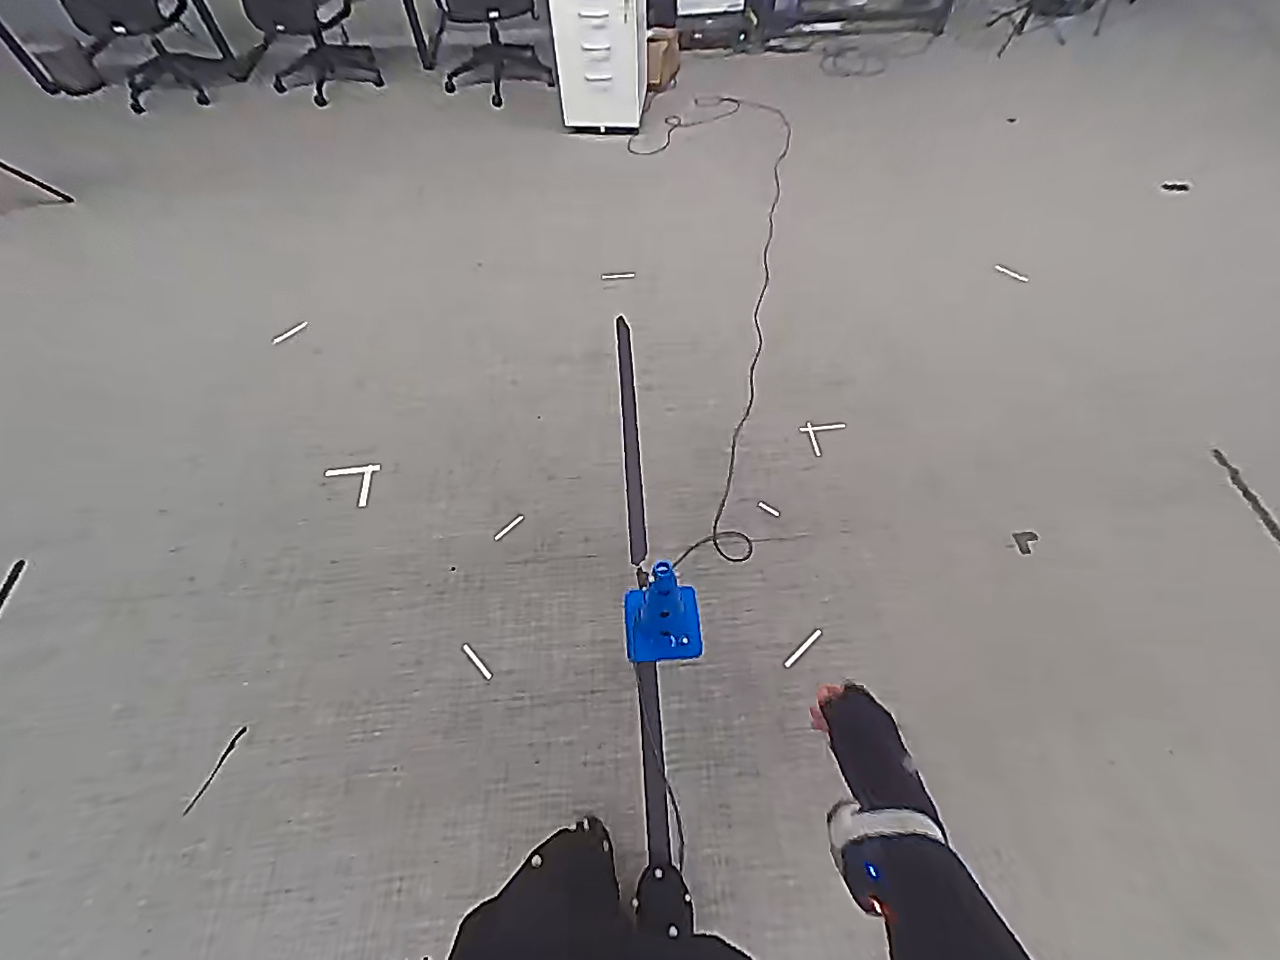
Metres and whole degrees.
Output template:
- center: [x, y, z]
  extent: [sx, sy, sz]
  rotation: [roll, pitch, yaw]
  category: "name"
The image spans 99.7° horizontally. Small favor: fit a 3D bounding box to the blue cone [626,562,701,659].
- center: [0.057, 0.283, 1.304]
  extent: [0.193, 0.380, 0.192]
  rotation: [-5, 56, -2]
  category: "blue cone"
